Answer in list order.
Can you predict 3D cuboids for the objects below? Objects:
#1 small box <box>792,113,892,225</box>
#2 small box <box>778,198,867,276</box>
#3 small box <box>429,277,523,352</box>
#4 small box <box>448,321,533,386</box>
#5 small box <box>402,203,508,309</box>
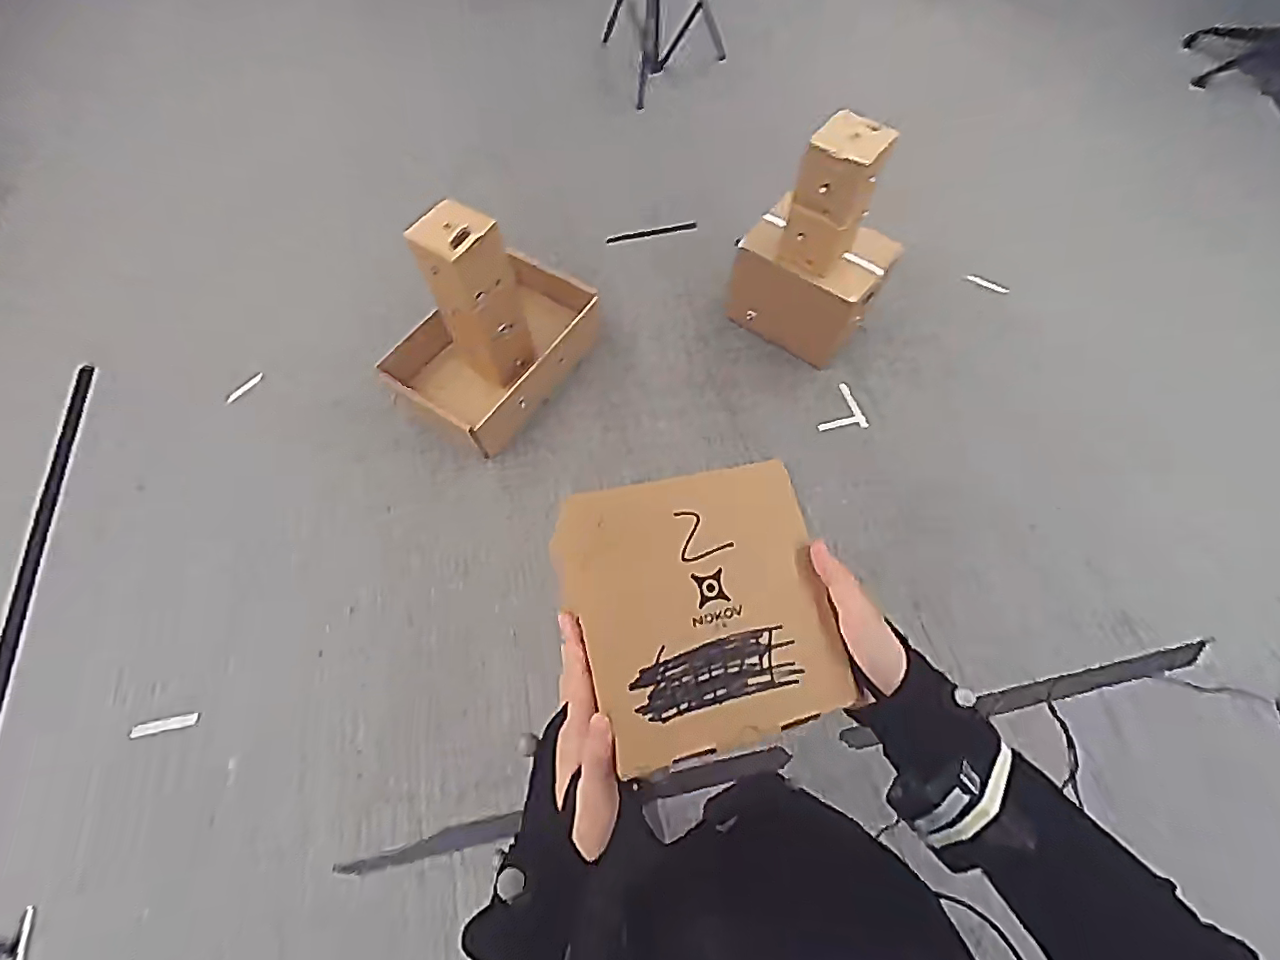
[{"bbox_3d":[0.518,-0.807,1.415,0.168,0.176,0.179,35,69,15],"label":"small box"},{"bbox_3d":[0.515,-0.725,1.558,0.168,0.176,0.179,34,68,16],"label":"small box"},{"bbox_3d":[-0.464,-0.500,1.555,0.179,0.176,0.168,32,68,15],"label":"small box"},{"bbox_3d":[-0.462,-0.425,1.698,0.179,0.176,0.168,33,68,16],"label":"small box"},{"bbox_3d":[-0.470,-0.576,1.409,0.179,0.176,0.168,30,67,16],"label":"small box"}]
